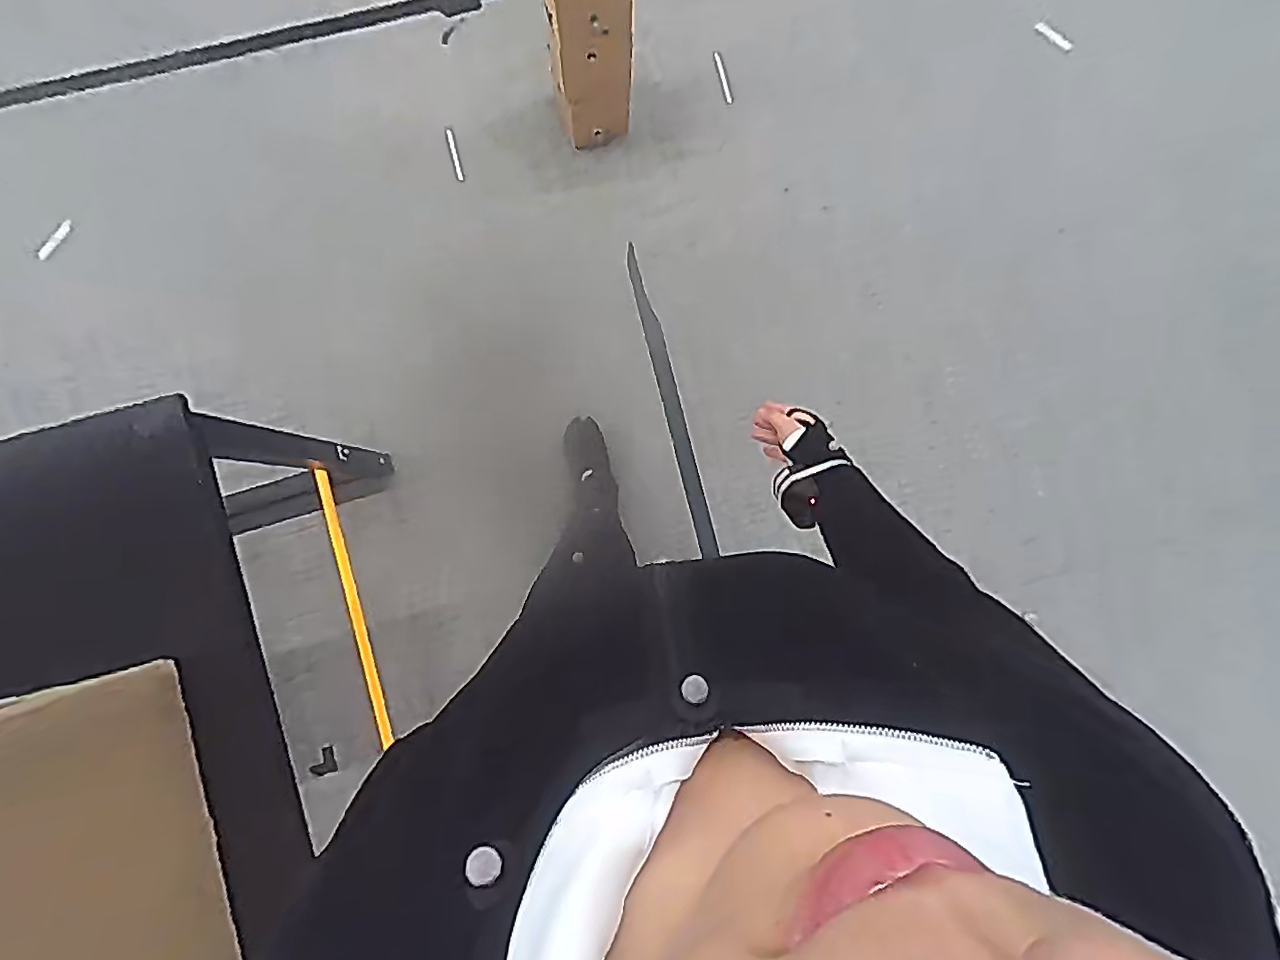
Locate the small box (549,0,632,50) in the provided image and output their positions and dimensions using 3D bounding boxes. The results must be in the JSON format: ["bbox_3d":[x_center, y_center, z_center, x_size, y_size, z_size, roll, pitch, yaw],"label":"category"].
[{"bbox_3d":[-0.114,-1.057,1.128,0.168,0.176,0.179,-13,88,-3],"label":"small box"}]

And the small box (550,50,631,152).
[{"bbox_3d":[-0.131,-1.036,1.457,0.168,0.176,0.179,-20,89,-3],"label":"small box"}]

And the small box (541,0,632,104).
[{"bbox_3d":[-0.124,-1.045,1.293,0.179,0.176,0.168,-16,88,-4],"label":"small box"}]
